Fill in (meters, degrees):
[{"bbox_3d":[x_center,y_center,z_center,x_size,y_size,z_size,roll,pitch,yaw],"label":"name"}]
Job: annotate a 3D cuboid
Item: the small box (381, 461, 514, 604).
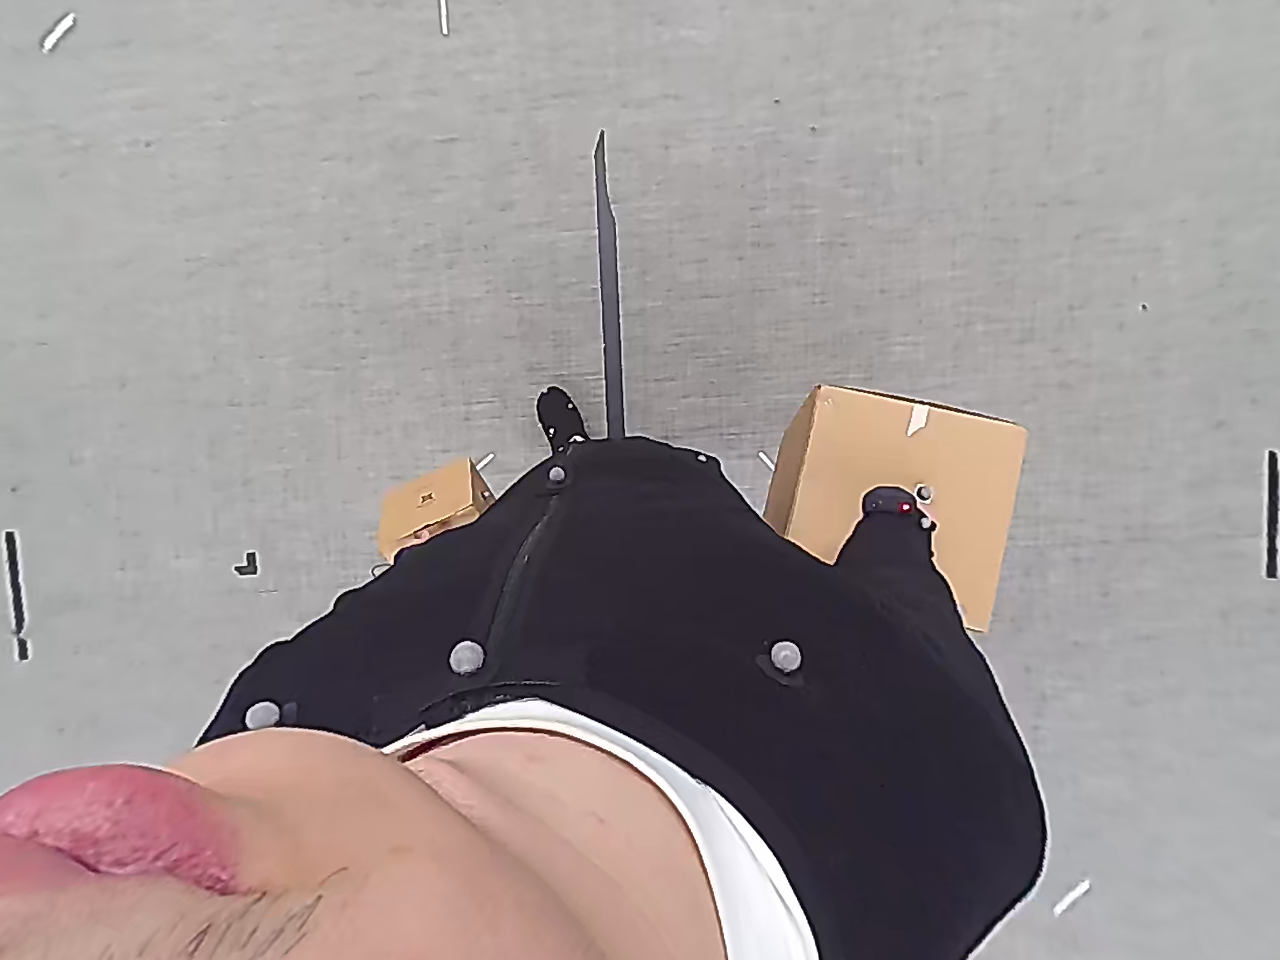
[{"bbox_3d":[-0.343,0.100,0.986,0.168,0.179,0.176,-25,123,-5],"label":"small box"}]
